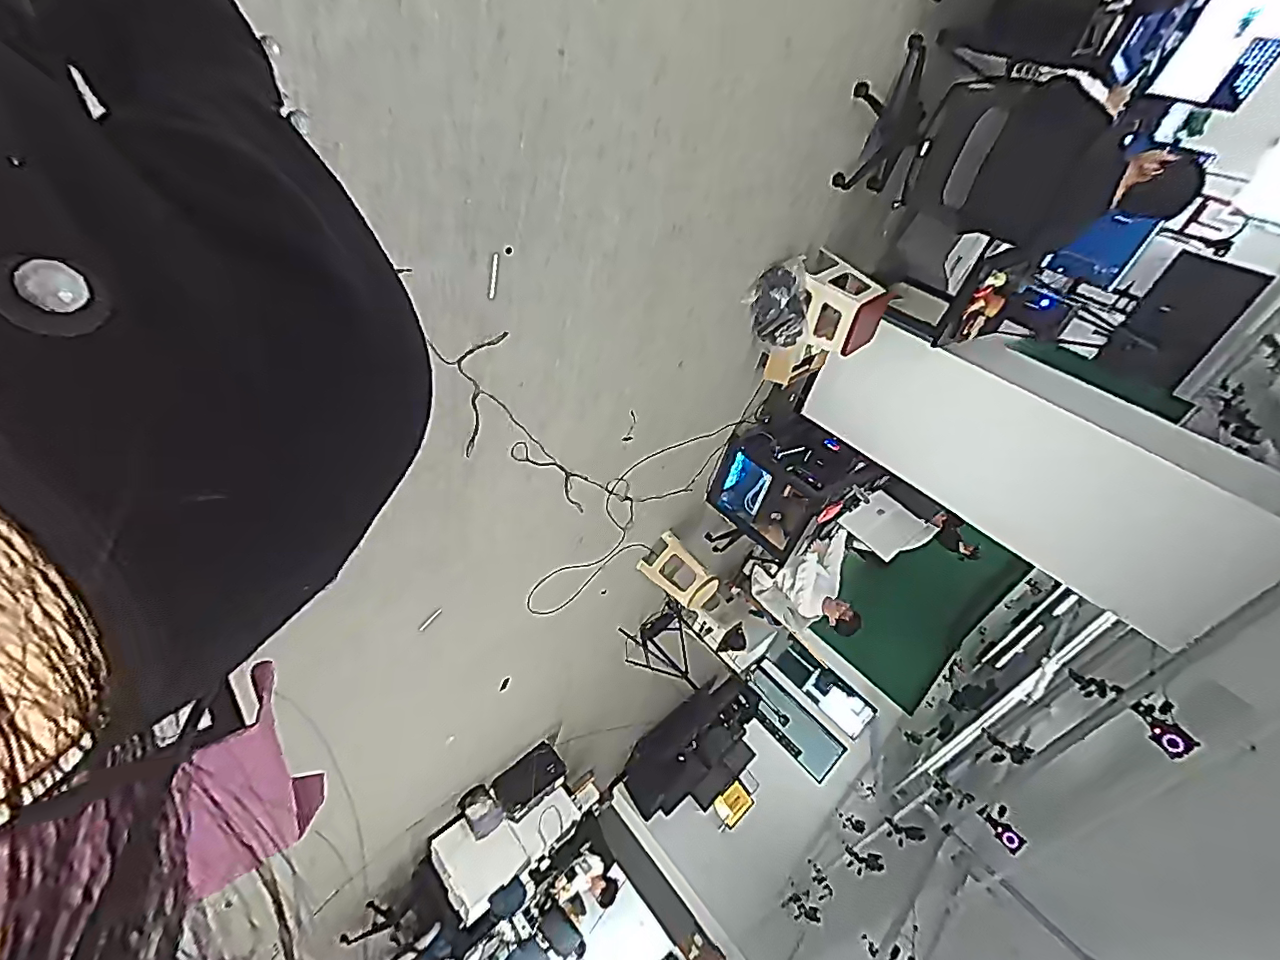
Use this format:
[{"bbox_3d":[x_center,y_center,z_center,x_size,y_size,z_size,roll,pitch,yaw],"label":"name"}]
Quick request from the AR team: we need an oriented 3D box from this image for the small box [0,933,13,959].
[{"bbox_3d":[-1.143,0.901,0.880,0.168,0.176,0.179,-9,132,-50],"label":"small box"}]
